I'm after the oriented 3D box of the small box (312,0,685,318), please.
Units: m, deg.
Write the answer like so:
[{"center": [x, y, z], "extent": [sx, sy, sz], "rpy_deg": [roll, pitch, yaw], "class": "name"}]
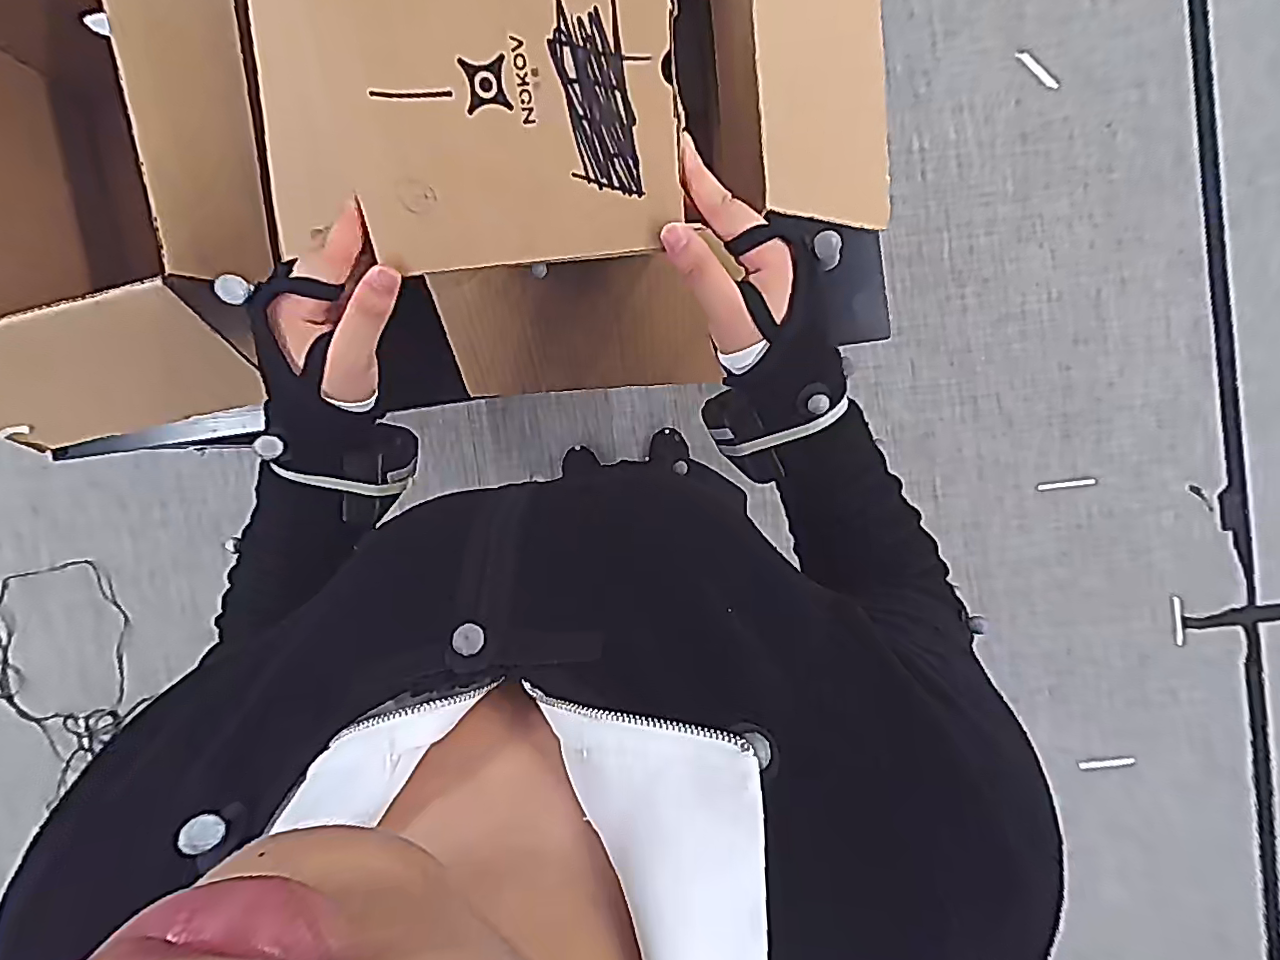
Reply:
[{"center": [-0.068, -0.214, 0.361], "extent": [0.179, 0.176, 0.168], "rpy_deg": [-5, 117, 1], "class": "small box"}]
